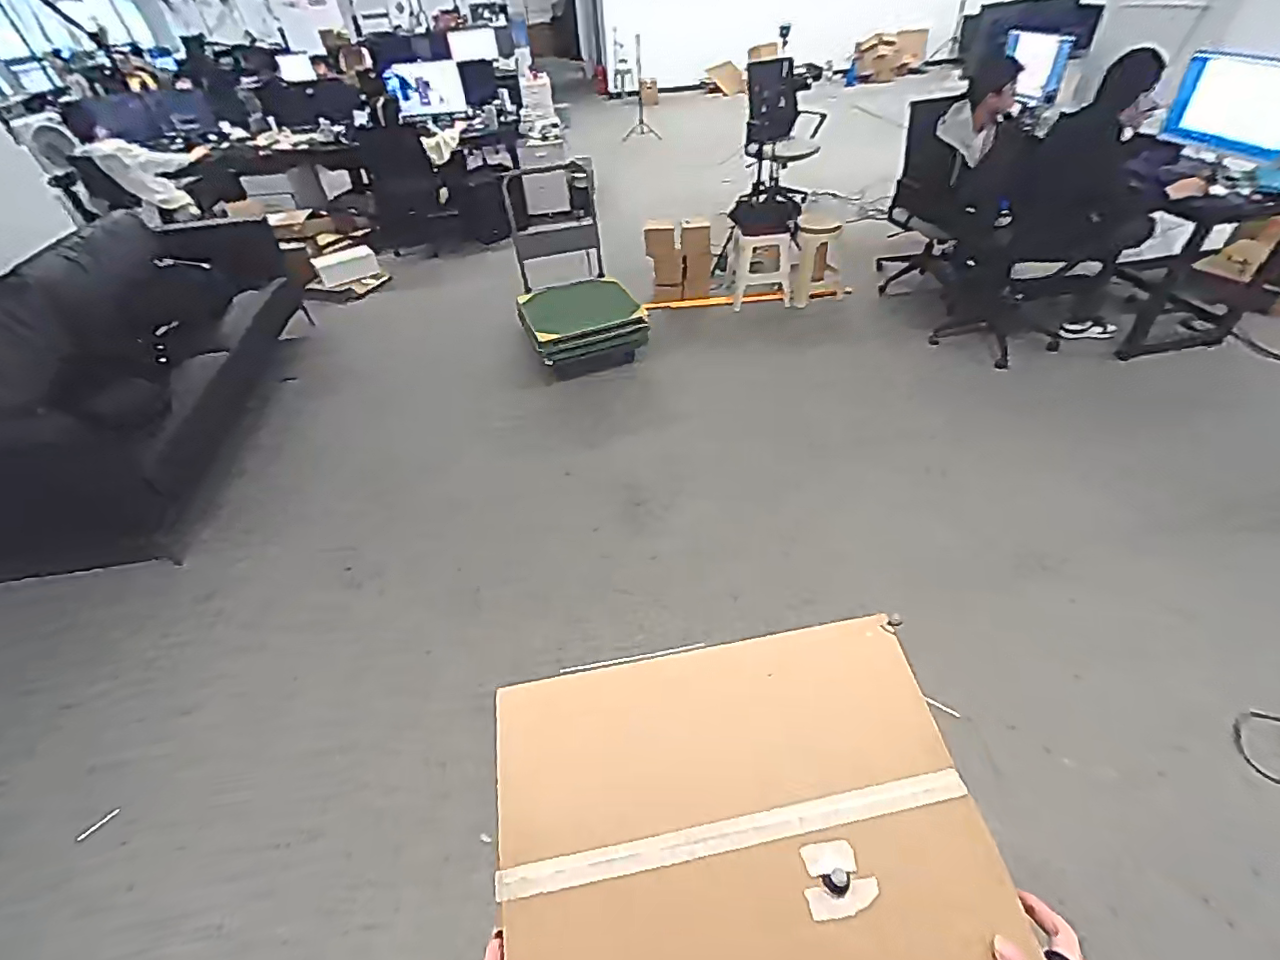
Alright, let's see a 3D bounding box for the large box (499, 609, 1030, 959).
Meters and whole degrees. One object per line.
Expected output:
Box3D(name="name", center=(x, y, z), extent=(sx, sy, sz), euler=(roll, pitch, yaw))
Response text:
Box3D(name="large box", center=(0.083, 0.380, 0.600), extent=(0.408, 0.320, 0.320), euler=(-10, 57, -5))
